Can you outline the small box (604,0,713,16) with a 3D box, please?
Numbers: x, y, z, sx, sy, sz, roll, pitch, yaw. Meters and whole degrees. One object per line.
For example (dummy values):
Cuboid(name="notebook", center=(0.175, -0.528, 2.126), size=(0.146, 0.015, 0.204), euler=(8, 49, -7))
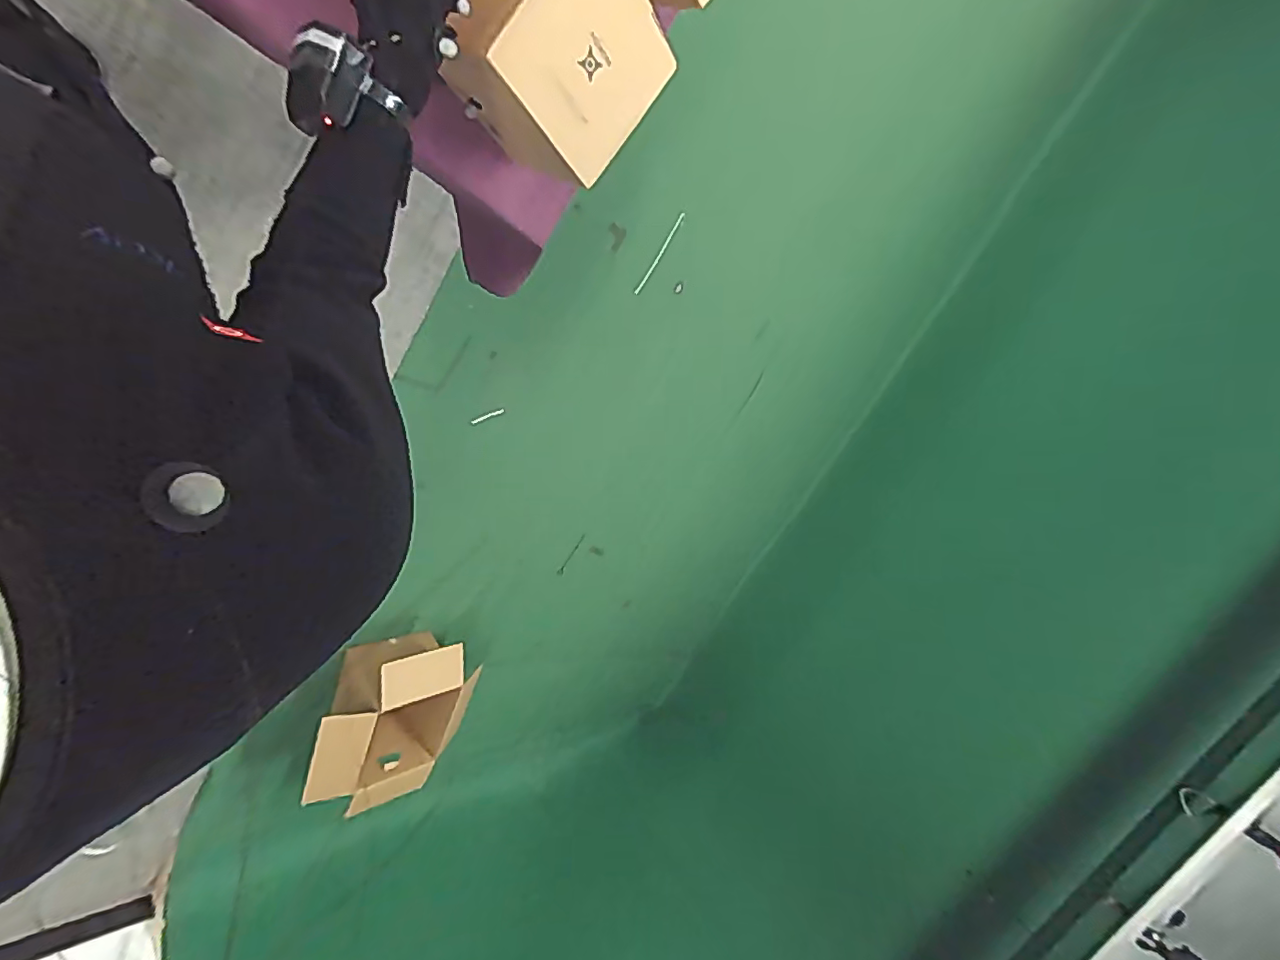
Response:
Cuboid(name="small box", center=(0.026, -0.649, 0.574), size=(0.179, 0.176, 0.168), euler=(-54, 145, 4))
